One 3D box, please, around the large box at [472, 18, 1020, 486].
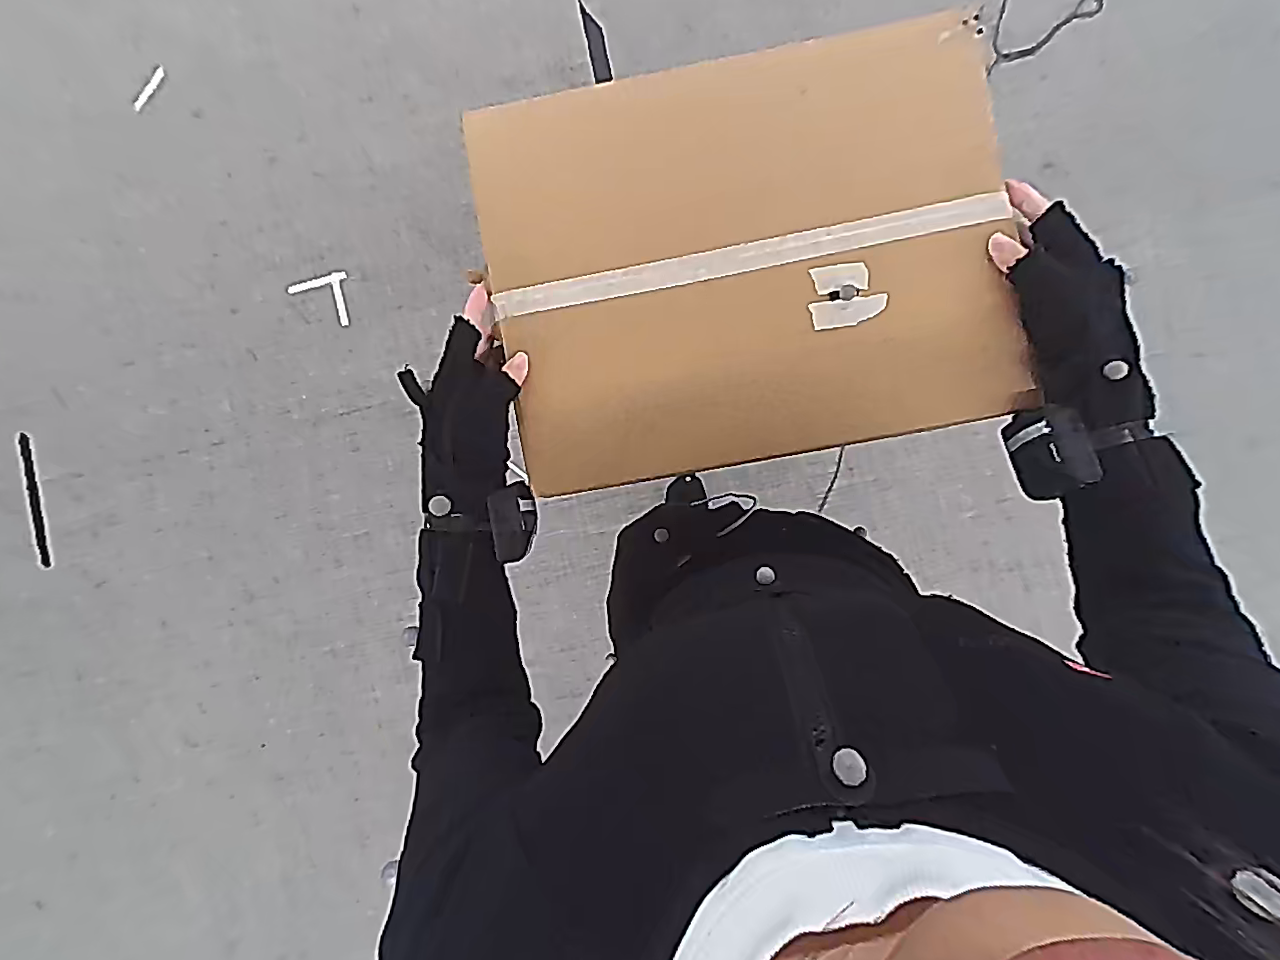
[{"bbox_3d":[0.086,-0.183,0.585,0.408,0.320,0.320,-11,91,1],"label":"large box"}]
